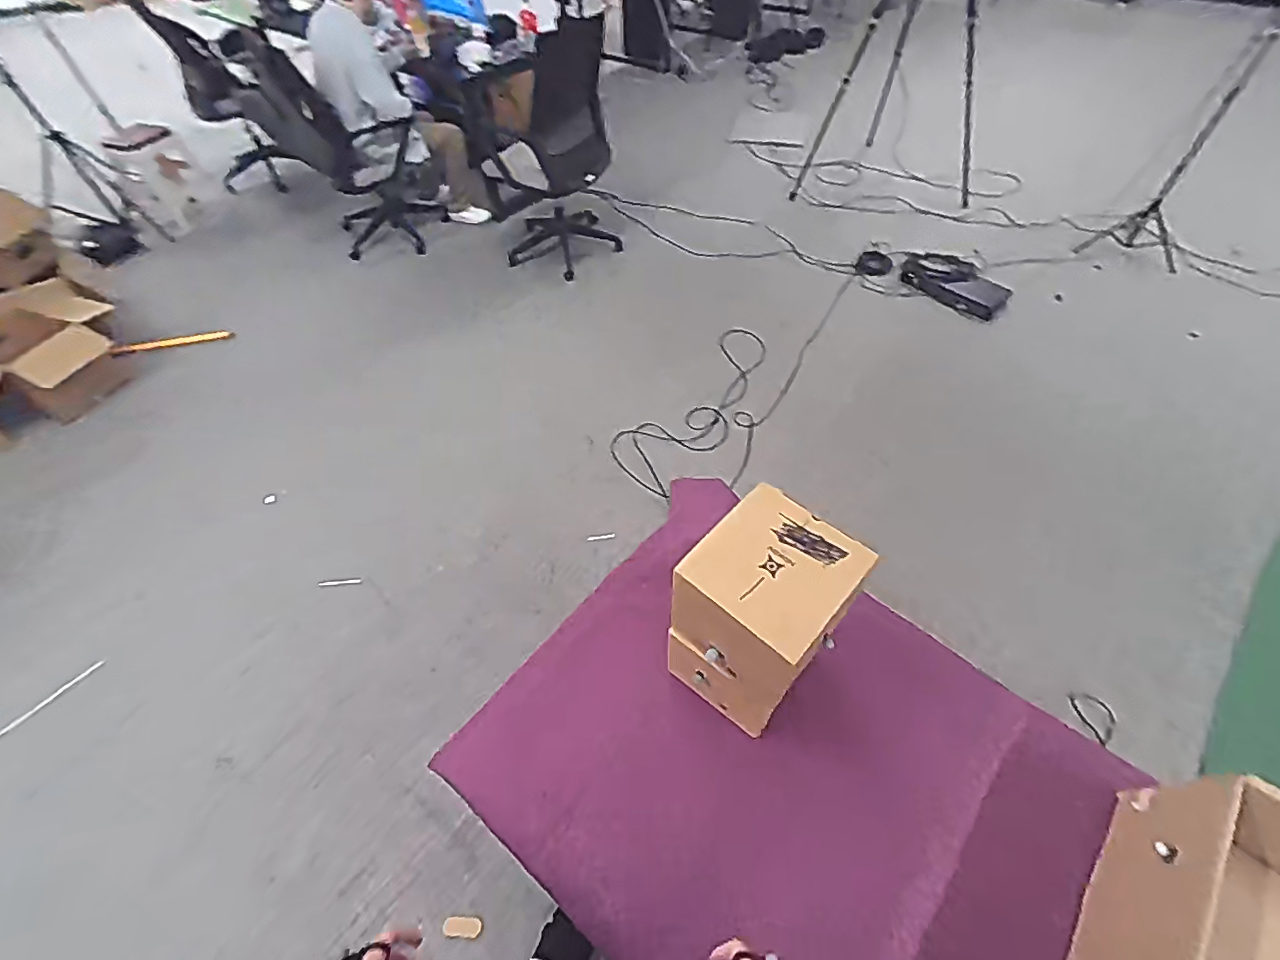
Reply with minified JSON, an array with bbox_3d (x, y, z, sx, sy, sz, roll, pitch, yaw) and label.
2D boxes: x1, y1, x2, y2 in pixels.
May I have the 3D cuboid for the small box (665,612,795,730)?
[{"bbox_3d":[0.155,0.239,0.810,0.168,0.176,0.179,32,59,24],"label":"small box"}]

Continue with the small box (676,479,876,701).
[{"bbox_3d":[0.156,0.139,0.679,0.168,0.176,0.179,36,62,27],"label":"small box"}]
